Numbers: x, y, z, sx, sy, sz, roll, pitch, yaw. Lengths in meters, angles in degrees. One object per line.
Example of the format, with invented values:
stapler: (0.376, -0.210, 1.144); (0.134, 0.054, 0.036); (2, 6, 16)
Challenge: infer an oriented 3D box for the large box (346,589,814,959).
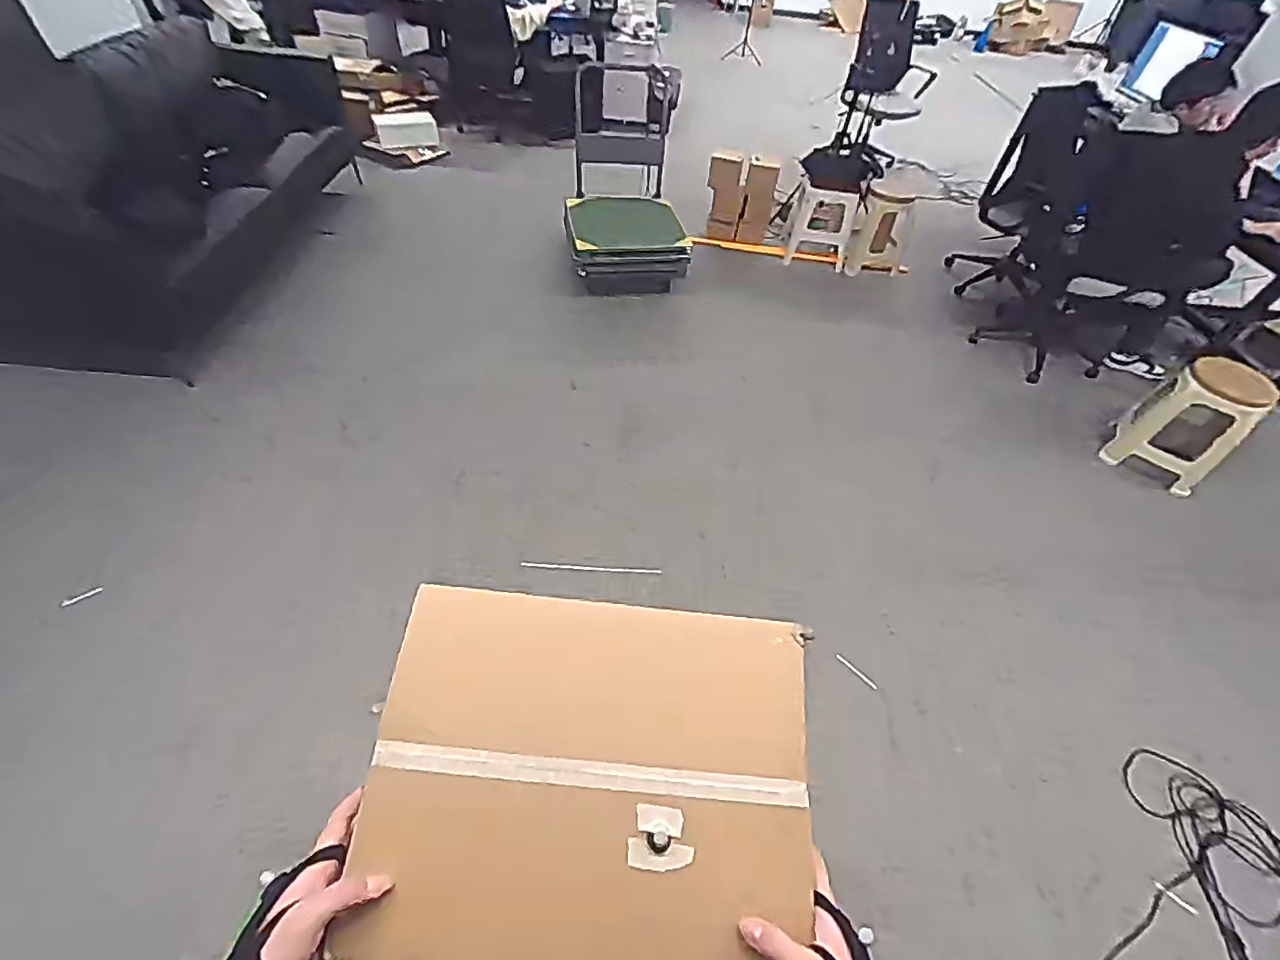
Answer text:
large box: (-0.049, 0.332, 0.648); (0.408, 0.320, 0.320); (6, 67, -1)

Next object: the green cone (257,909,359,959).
green cone: (-0.707, 0.949, 1.024); (0.200, 0.368, 0.202); (8, 51, 2)
